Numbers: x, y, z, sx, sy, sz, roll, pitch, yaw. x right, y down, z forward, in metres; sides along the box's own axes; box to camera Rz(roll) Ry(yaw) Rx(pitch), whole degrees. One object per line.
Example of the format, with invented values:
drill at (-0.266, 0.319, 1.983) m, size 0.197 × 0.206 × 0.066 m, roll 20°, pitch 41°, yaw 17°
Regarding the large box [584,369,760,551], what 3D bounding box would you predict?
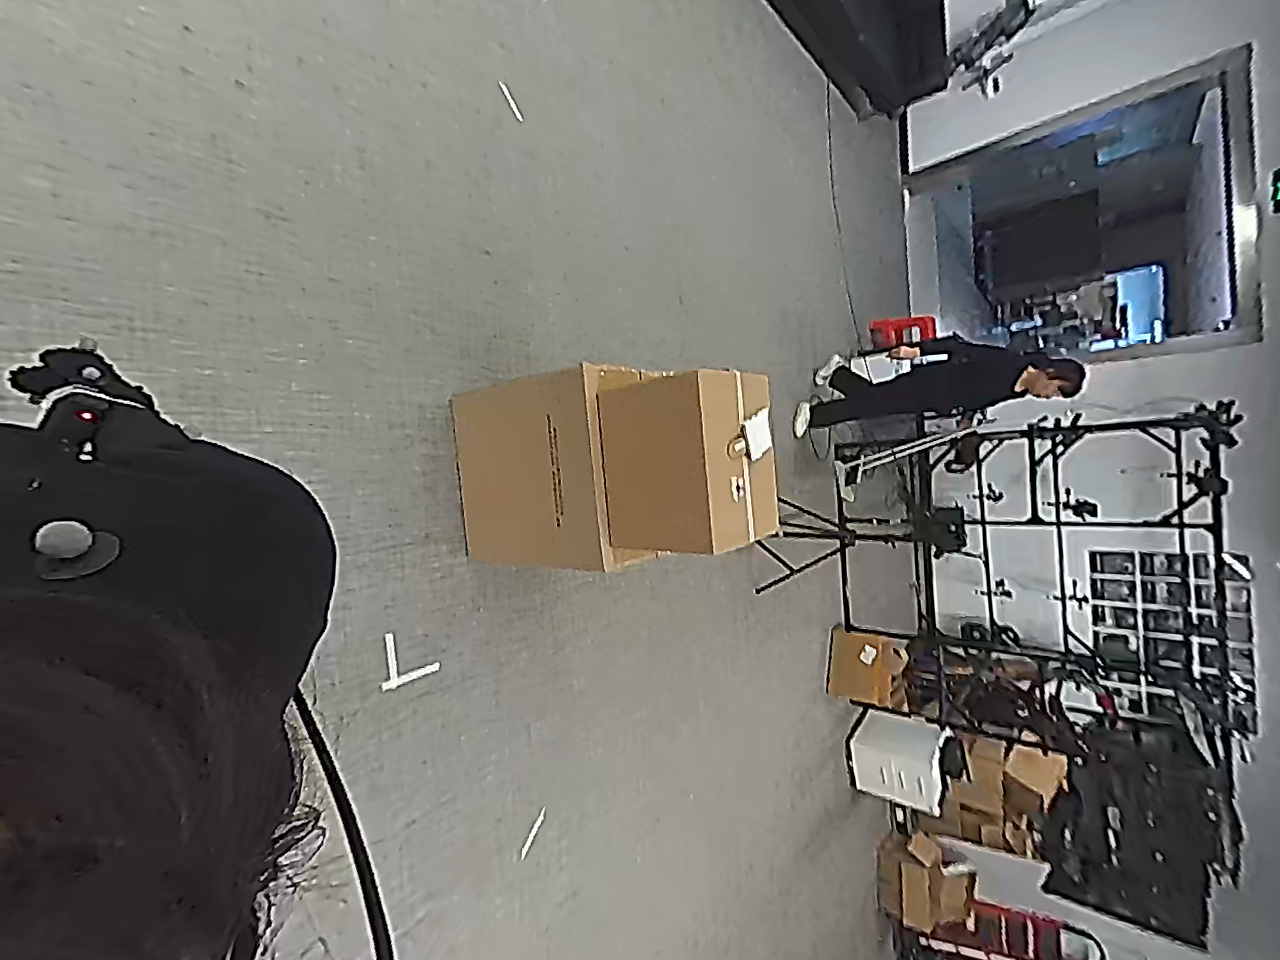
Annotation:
large box at (0.086, -0.054, 1.368) m, size 0.320 × 0.320 × 0.408 m, roll -8°, pitch 95°, yaw -49°
